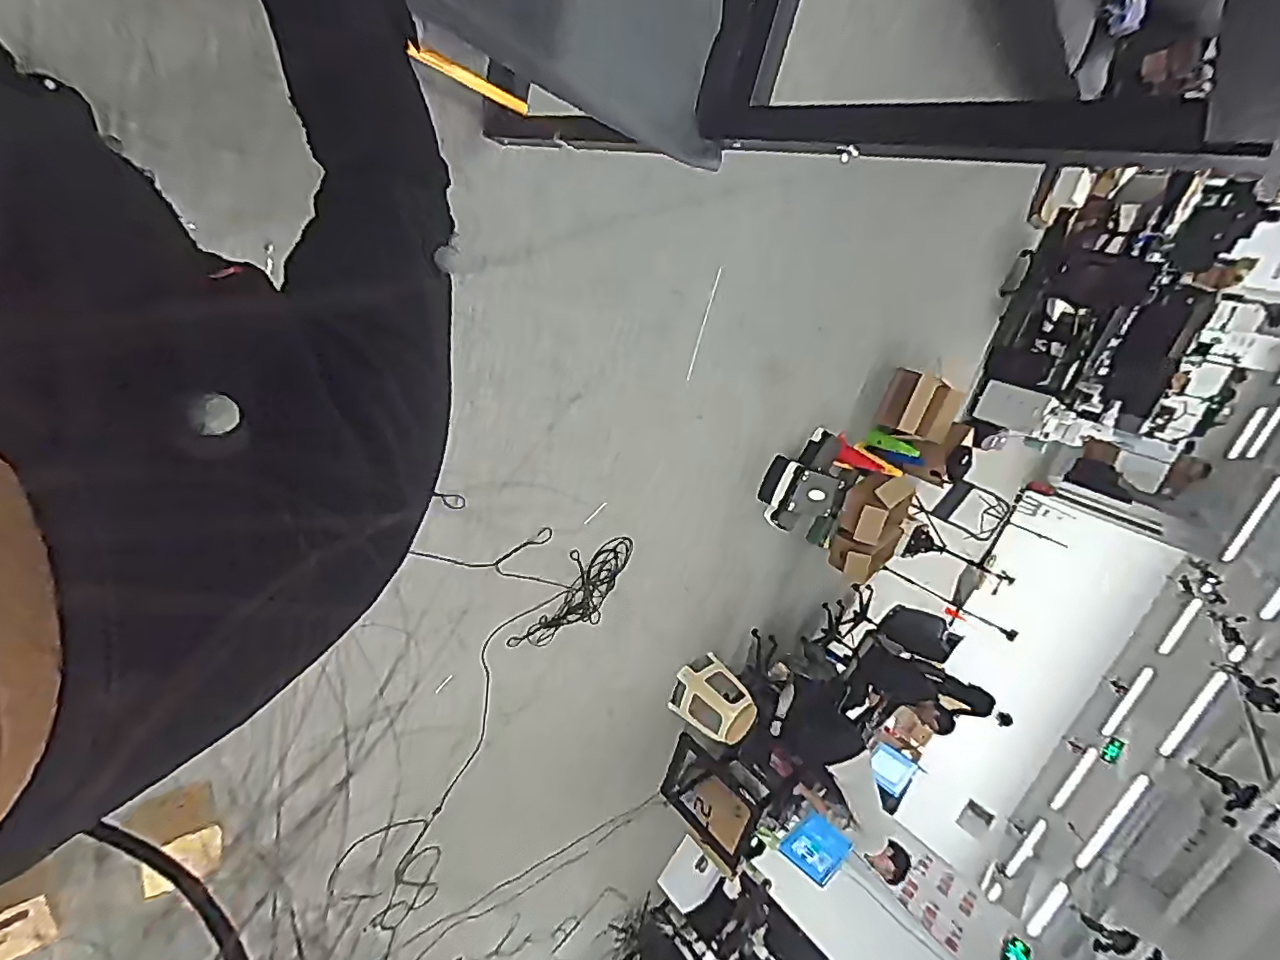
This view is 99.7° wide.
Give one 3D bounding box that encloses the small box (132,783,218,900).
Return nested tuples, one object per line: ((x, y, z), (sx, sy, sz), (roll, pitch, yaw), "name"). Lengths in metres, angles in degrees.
((-1.295, 0.998, 1.509), (0.168, 0.176, 0.179), (-7, 118, -45), "small box")

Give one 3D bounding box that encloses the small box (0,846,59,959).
((-1.517, 1.018, 1.281), (0.168, 0.176, 0.179), (-11, 122, -42), "small box")
